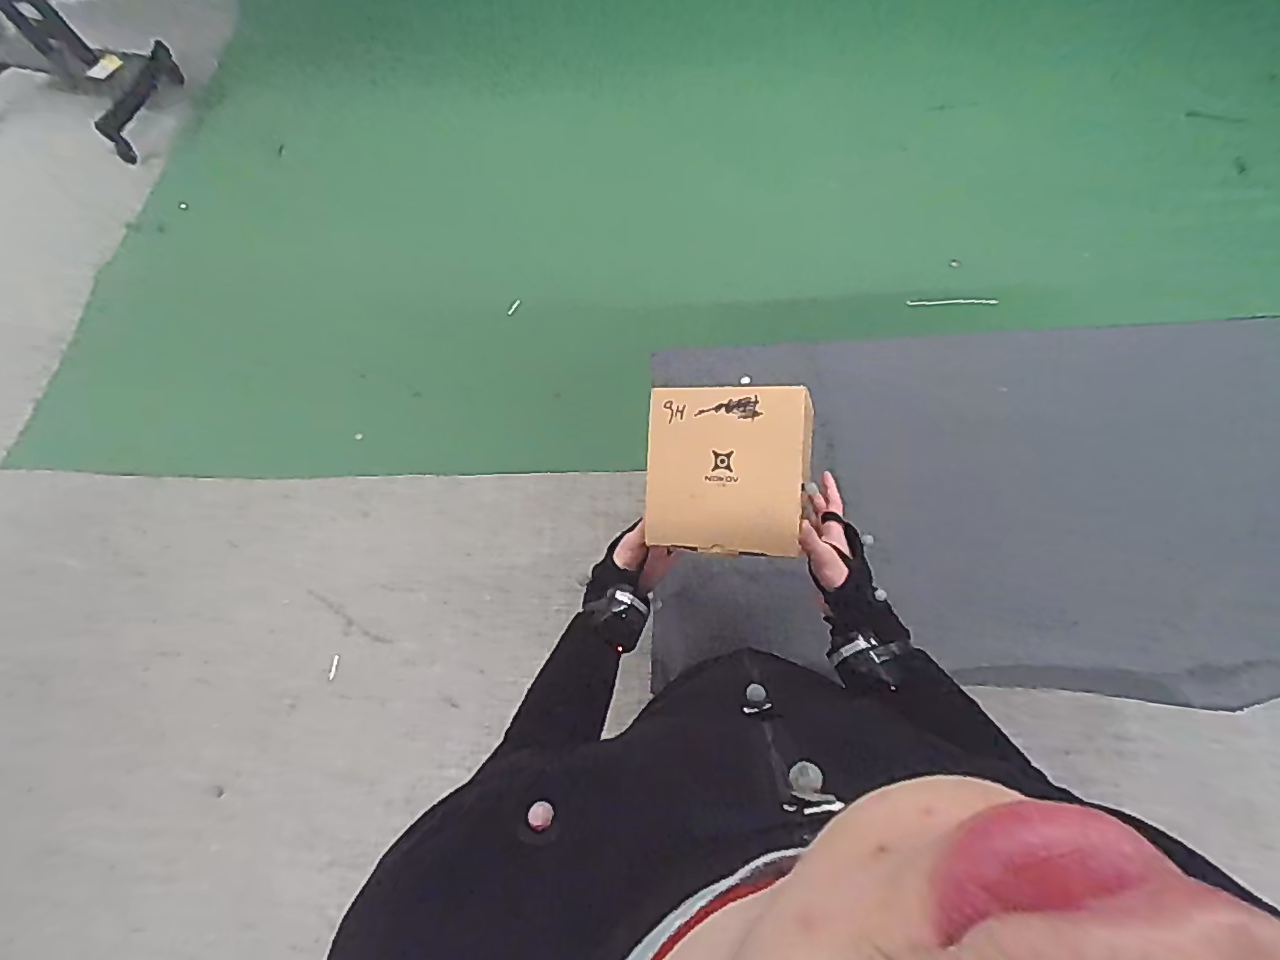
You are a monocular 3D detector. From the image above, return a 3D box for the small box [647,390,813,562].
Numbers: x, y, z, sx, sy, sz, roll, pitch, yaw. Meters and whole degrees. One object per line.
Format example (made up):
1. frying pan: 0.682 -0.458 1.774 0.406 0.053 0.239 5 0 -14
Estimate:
1. small box: 0.115 -0.009 0.642 0.168 0.176 0.179 3 91 19
